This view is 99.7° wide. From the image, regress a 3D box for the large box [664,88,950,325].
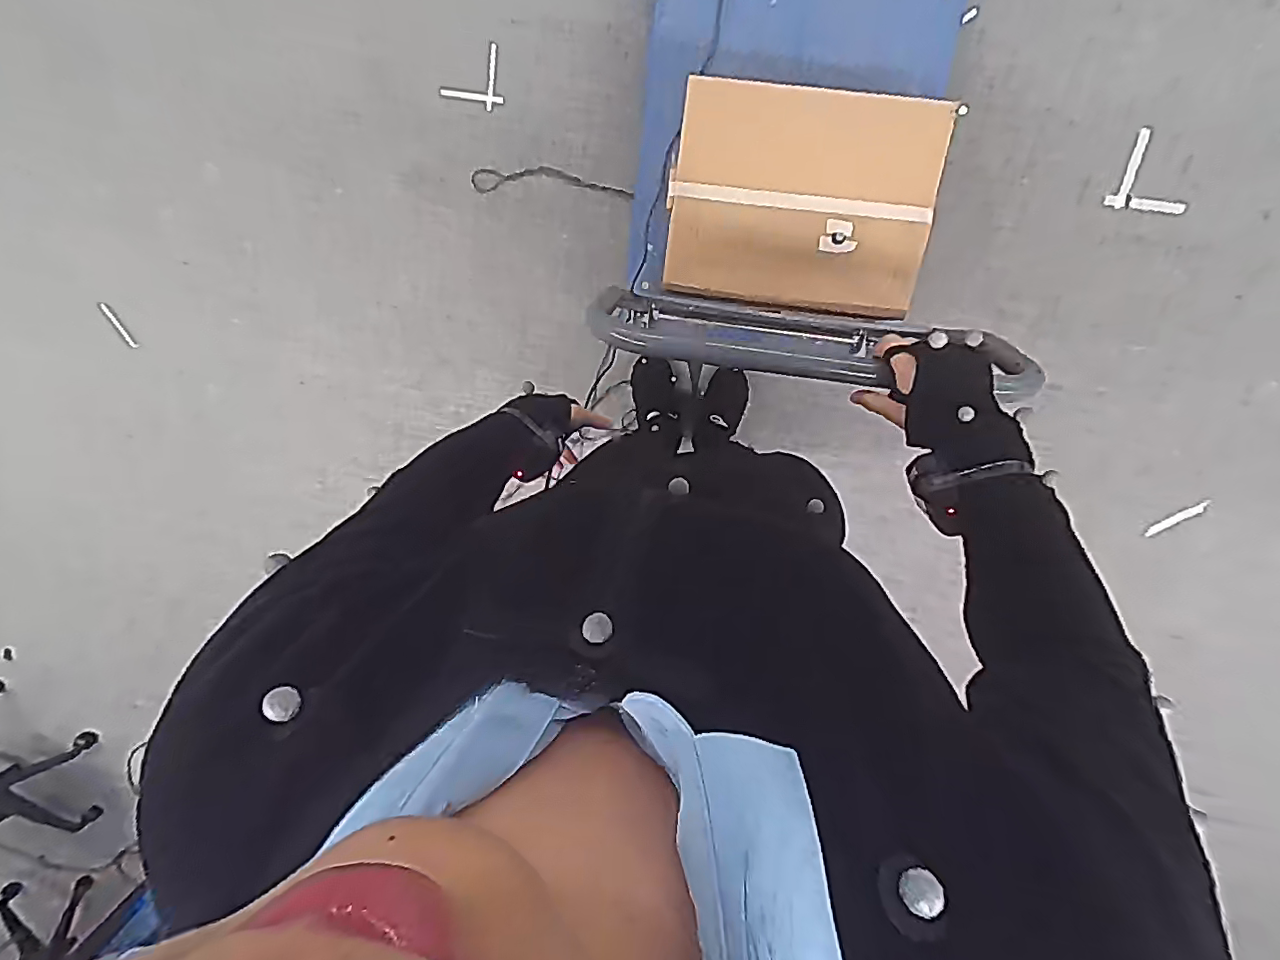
[{"bbox_3d":[0.261,-0.466,0.997,0.408,0.320,0.320,8,107,2],"label":"large box"}]
